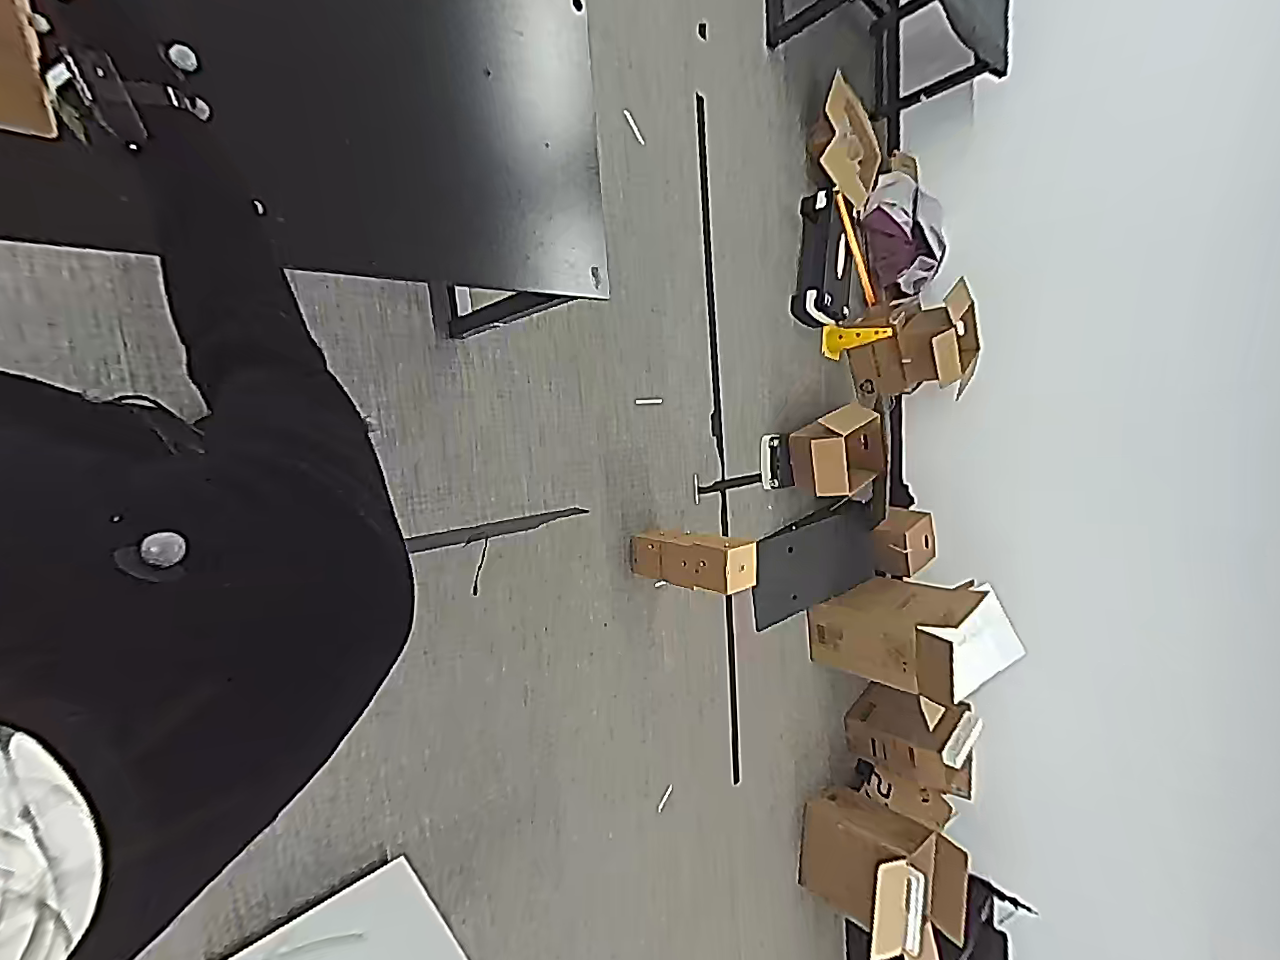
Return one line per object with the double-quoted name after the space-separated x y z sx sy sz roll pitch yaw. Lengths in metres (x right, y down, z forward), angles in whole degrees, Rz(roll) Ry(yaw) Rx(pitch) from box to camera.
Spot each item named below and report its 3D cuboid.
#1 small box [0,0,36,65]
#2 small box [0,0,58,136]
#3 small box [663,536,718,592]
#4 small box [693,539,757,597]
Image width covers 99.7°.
-0.577 -0.455 0.384 0.168 0.176 0.179 -12 101 -41 "small box"
-0.689 -0.460 0.506 0.168 0.176 0.179 -13 102 -41 "small box"
0.203 0.324 2.132 0.168 0.176 0.179 -10 101 -42 "small box"
0.317 0.321 2.015 0.179 0.176 0.168 -7 98 -41 "small box"
